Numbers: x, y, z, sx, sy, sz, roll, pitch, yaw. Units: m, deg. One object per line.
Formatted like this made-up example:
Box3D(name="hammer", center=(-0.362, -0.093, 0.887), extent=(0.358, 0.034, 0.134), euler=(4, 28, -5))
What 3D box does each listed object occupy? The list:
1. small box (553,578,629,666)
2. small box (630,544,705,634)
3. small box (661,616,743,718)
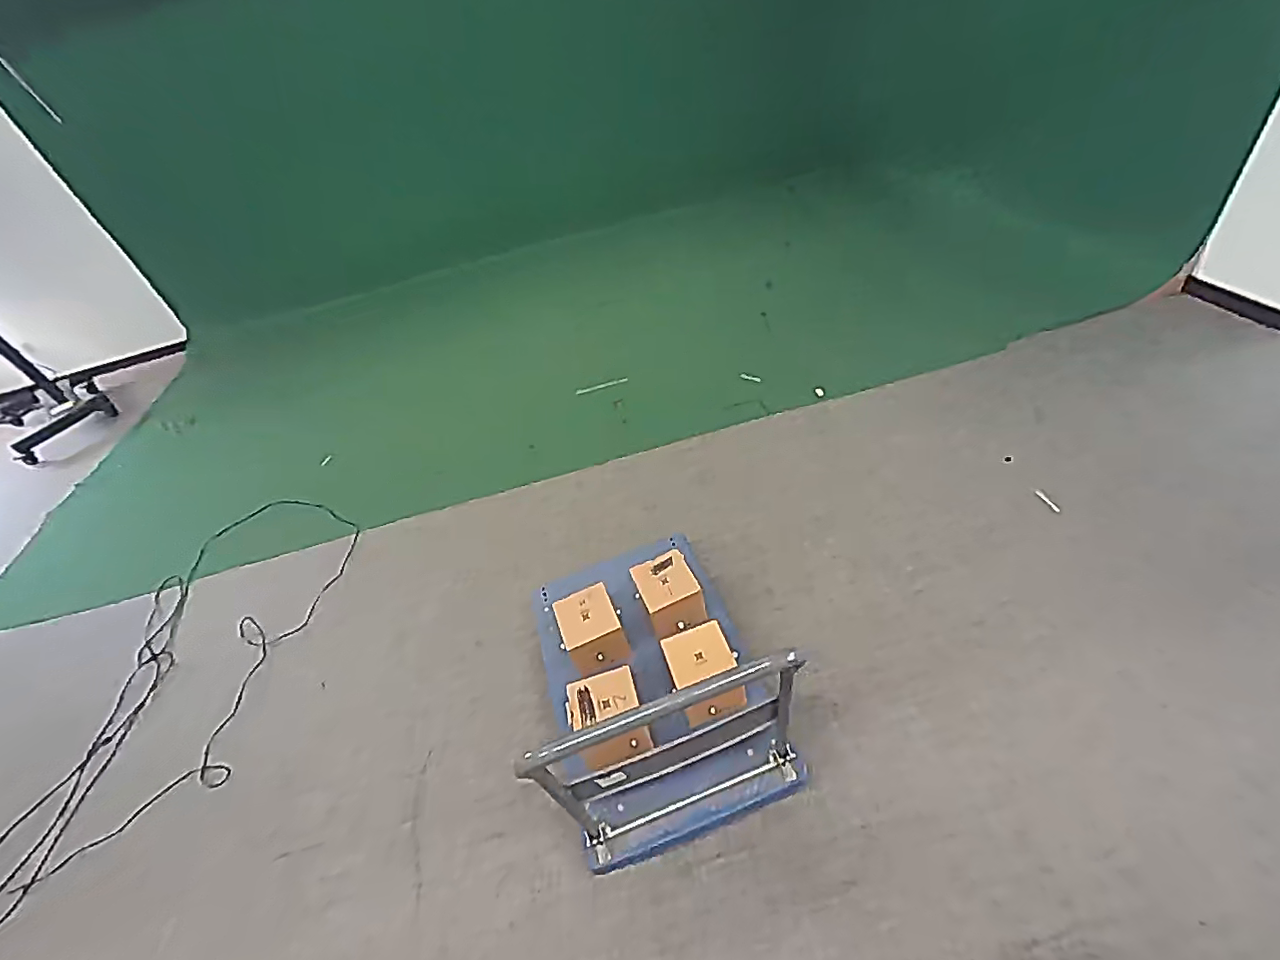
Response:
Box3D(name="small box", center=(-0.144, 0.432, 1.619), extent=(0.168, 0.176, 0.179), euler=(-22, 44, -8))
Box3D(name="small box", center=(0.087, 0.335, 1.654), extent=(0.168, 0.176, 0.179), euler=(-23, 45, -7))
Box3D(name="small box", center=(0.168, 0.507, 1.462), extent=(0.168, 0.176, 0.179), euler=(-19, 44, -5))
